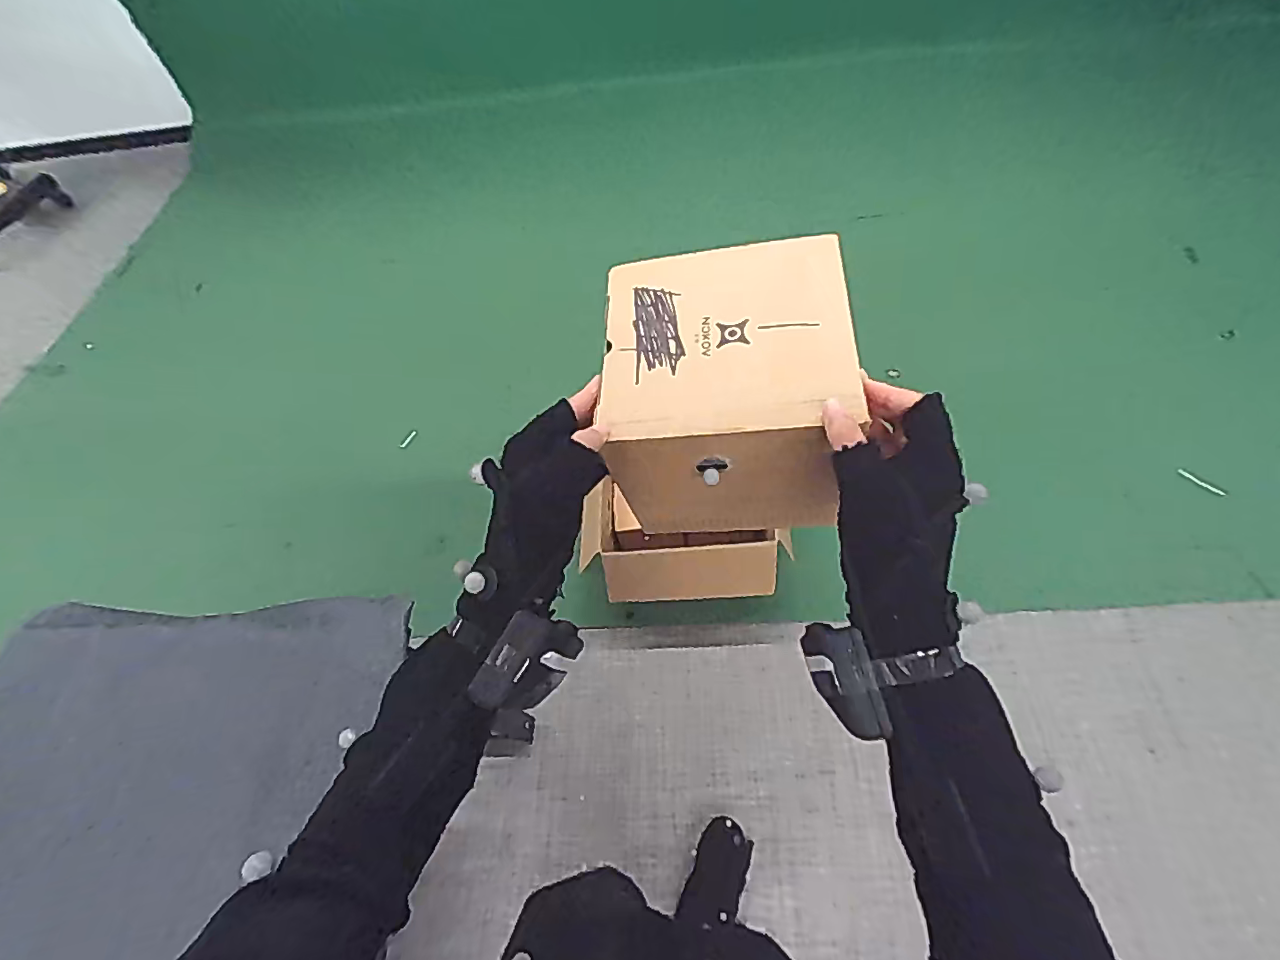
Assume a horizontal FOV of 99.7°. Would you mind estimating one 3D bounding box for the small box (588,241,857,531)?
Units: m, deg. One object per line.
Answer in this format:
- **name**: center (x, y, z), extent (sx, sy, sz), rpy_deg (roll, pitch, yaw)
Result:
- **small box**: center (0.070, -0.063, 0.451), extent (0.179, 0.176, 0.168), rpy_deg (-4, 63, 12)
